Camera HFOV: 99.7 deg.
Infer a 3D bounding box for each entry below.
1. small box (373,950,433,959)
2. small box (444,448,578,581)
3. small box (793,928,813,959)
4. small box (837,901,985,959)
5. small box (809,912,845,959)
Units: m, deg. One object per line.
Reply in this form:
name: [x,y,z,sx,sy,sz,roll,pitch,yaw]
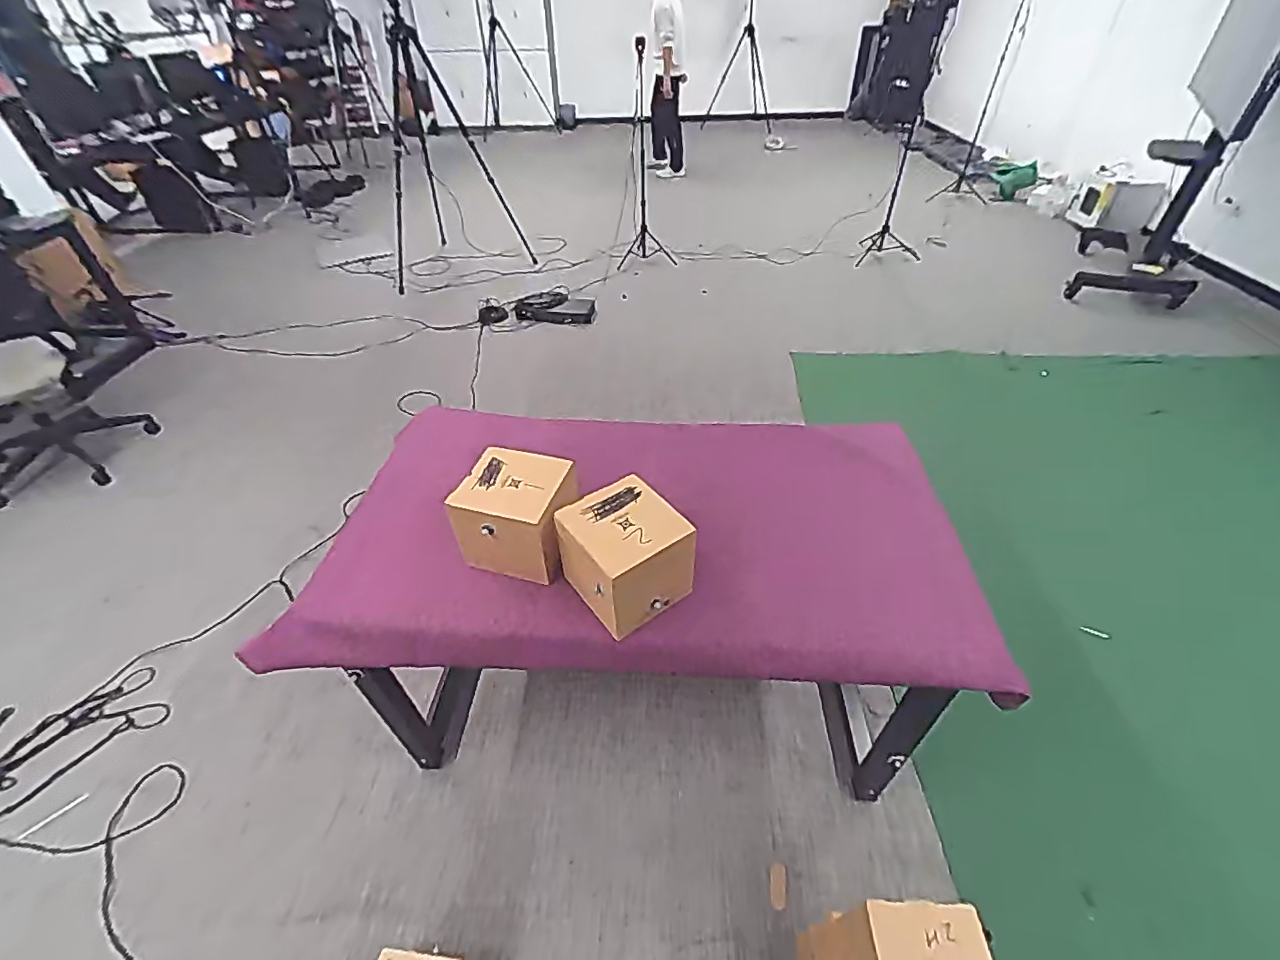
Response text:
small box: [-0.436,1.029,1.026,0.168,0.176,0.179,4,43,6]
small box: [-0.228,0.066,1.006,0.179,0.176,0.168,11,44,12]
small box: [0.399,0.995,1.045,0.179,0.176,0.168,3,42,4]
small box: [0.414,0.763,0.816,0.168,0.176,0.179,1,43,2]
small box: [0.402,0.877,0.935,0.168,0.176,0.179,1,43,2]
